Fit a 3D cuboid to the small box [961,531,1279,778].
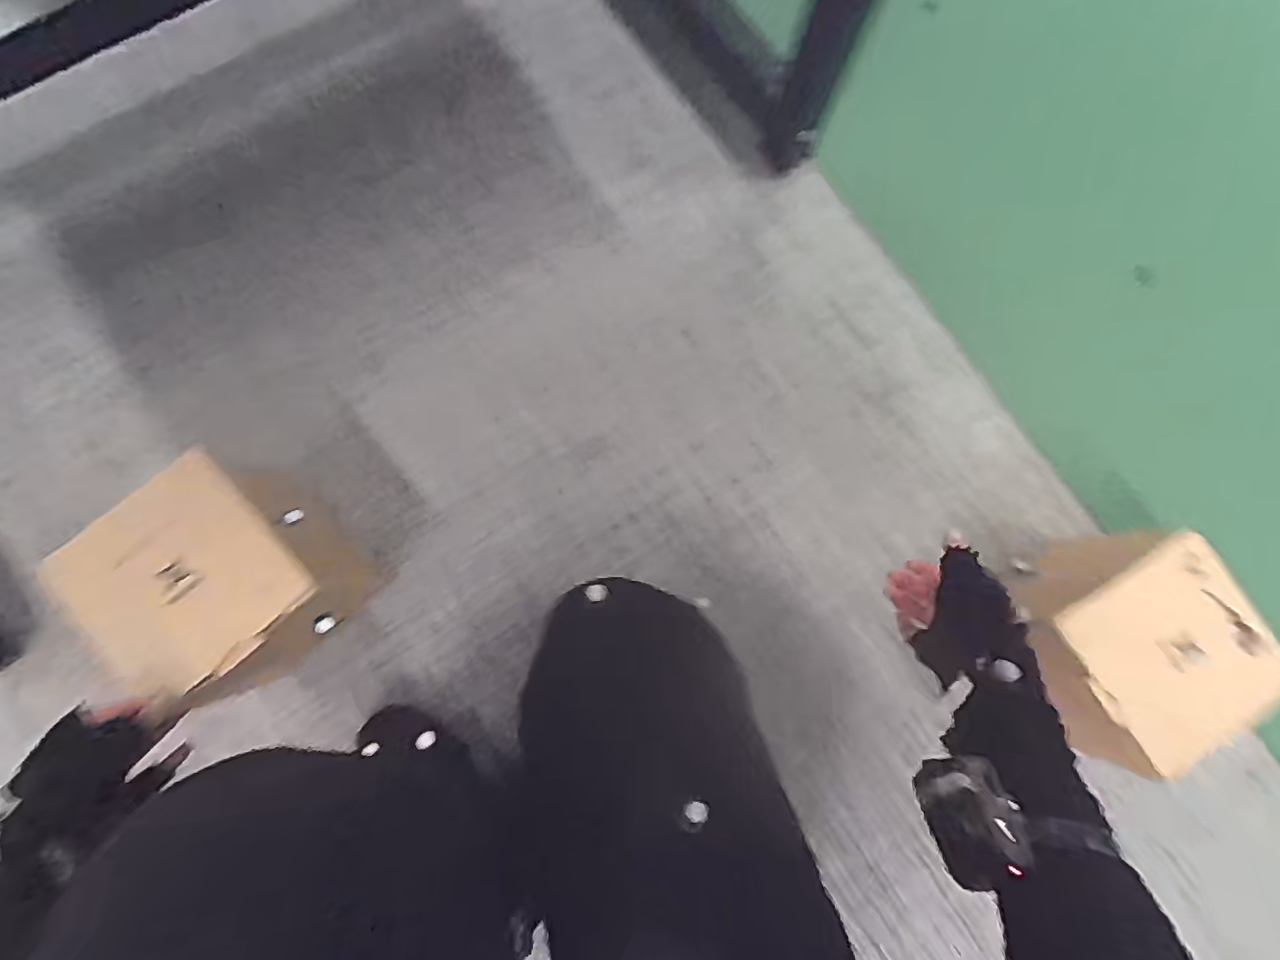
[{"bbox_3d":[0.487,0.171,0.579,0.179,0.176,0.168,-29,83,-5],"label":"small box"}]
